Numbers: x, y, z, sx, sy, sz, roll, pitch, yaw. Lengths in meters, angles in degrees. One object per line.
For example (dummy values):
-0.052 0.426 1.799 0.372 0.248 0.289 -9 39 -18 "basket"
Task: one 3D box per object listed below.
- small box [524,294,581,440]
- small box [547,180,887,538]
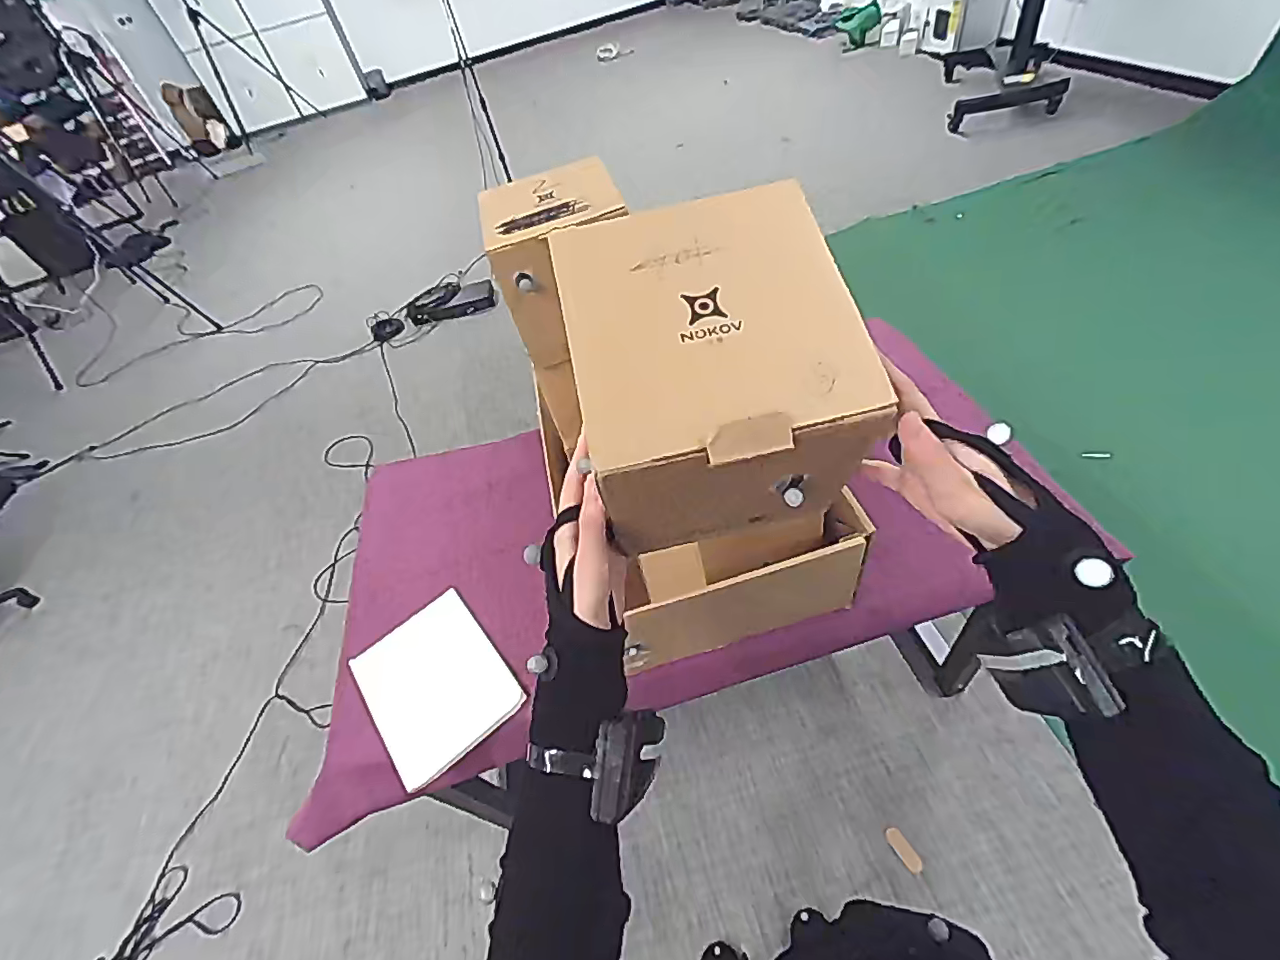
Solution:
-0.070 -0.182 0.839 0.168 0.176 0.179 -16 49 1 "small box"
0.042 -0.068 0.387 0.168 0.176 0.179 -13 67 -1 "small box"
